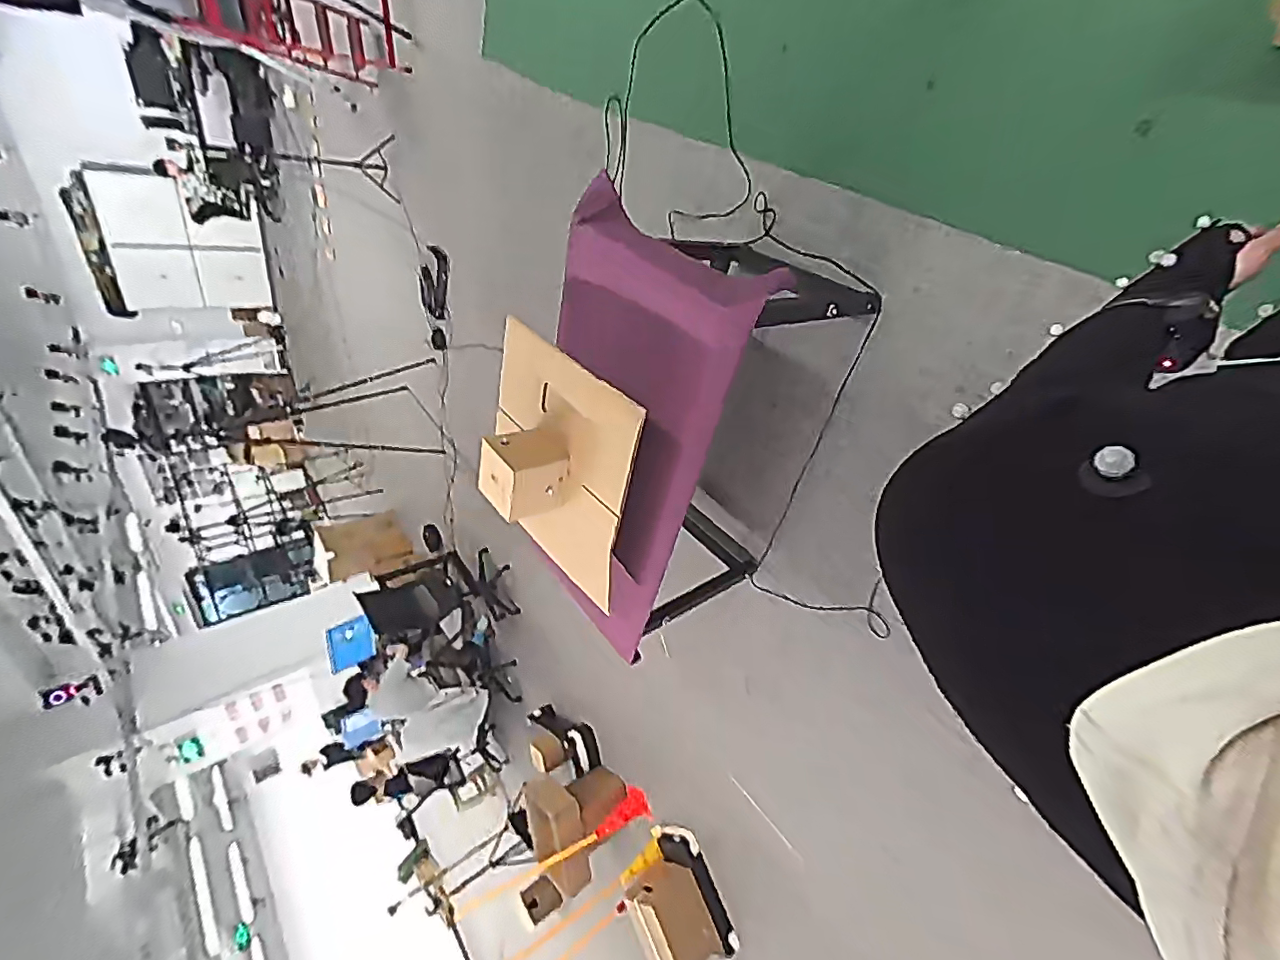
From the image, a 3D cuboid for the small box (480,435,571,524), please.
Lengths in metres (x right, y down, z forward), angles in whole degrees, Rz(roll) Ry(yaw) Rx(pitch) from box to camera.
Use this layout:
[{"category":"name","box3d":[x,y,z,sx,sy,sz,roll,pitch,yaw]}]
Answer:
[{"category":"small box","box3d":[-0.313,-0.009,1.467,0.179,0.176,0.168,40,130,33]}]

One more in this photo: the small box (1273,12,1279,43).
[{"category":"small box","box3d":[1.163,-0.788,0.844,0.168,0.176,0.179,43,134,32]}]
